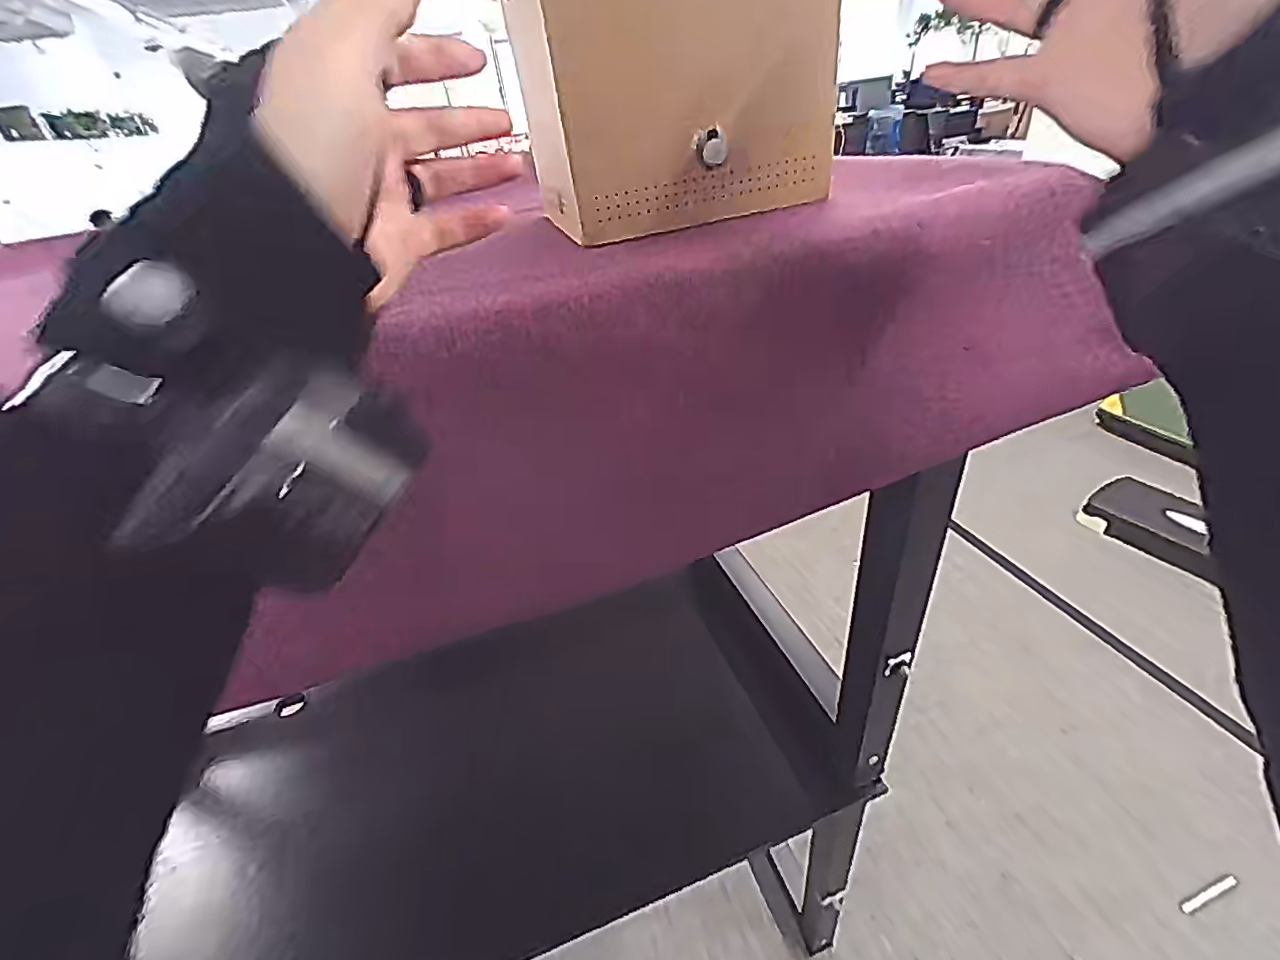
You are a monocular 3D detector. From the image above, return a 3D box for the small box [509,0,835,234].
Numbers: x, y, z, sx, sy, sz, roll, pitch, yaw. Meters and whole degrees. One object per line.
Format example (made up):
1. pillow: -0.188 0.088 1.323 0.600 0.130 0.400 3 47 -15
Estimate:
1. small box: 0.014 -0.281 0.366 0.179 0.176 0.168 -16 35 -10
